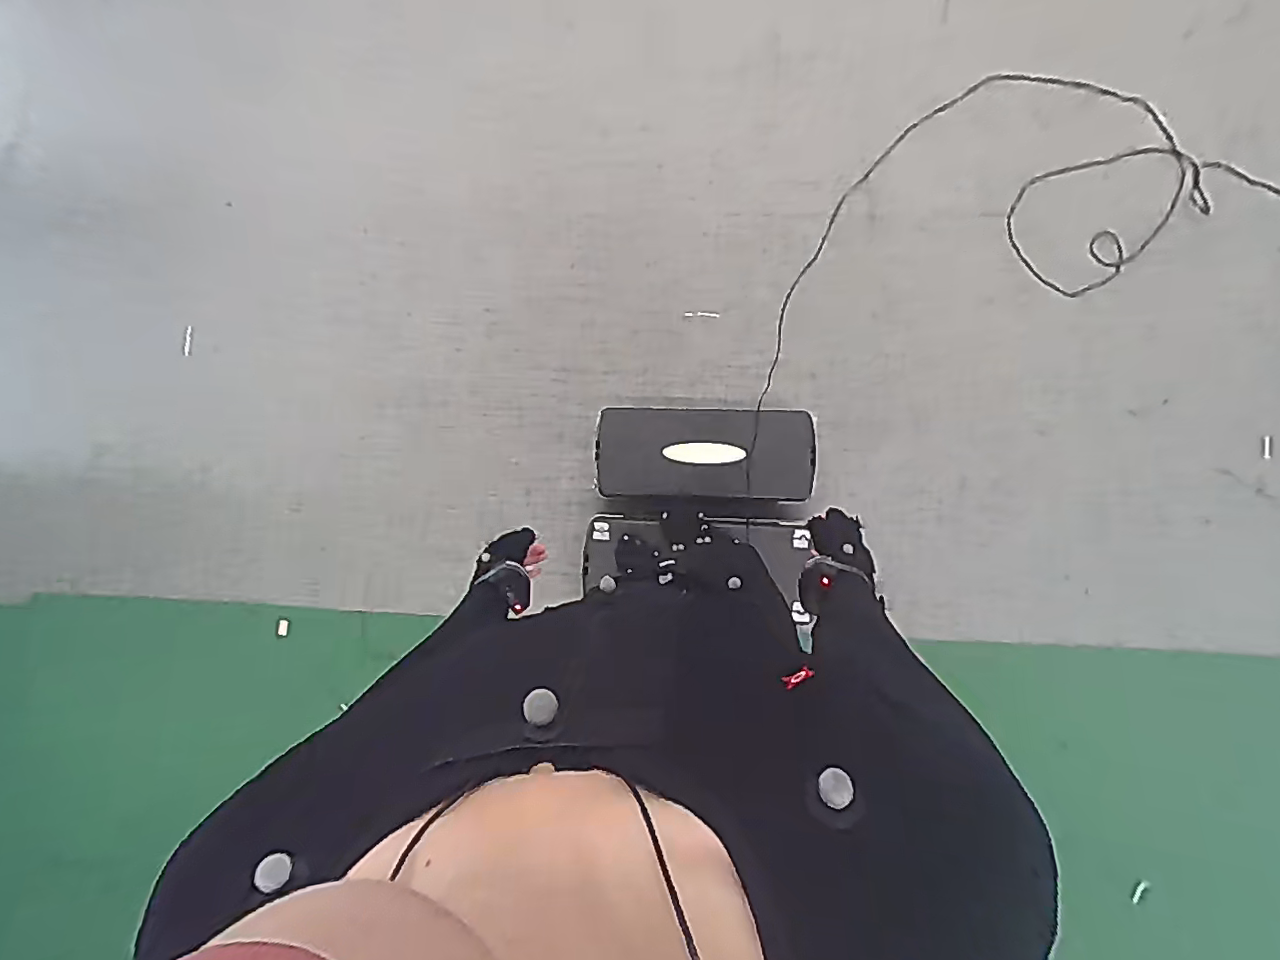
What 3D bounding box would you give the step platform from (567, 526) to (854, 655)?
[{"bbox_3d":[0.169,0.270,1.381,0.684,0.204,0.286,1,85,3],"label":"step platform"}]
